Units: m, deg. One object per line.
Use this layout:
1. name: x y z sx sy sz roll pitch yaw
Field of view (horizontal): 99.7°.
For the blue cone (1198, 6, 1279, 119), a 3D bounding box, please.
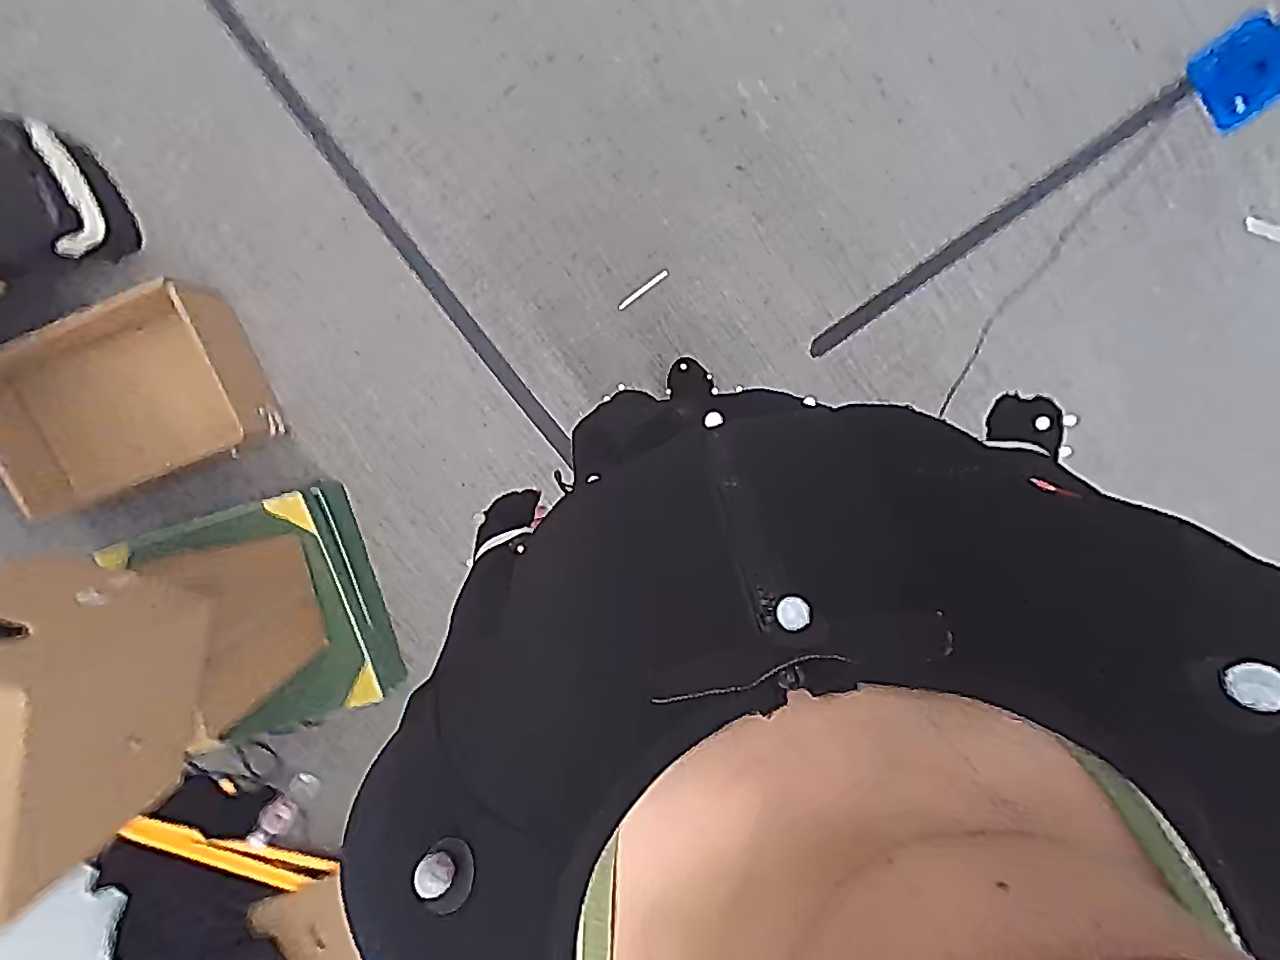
1. blue cone: 1.403 -0.931 1.079 0.192 0.380 0.193 -37 98 7
